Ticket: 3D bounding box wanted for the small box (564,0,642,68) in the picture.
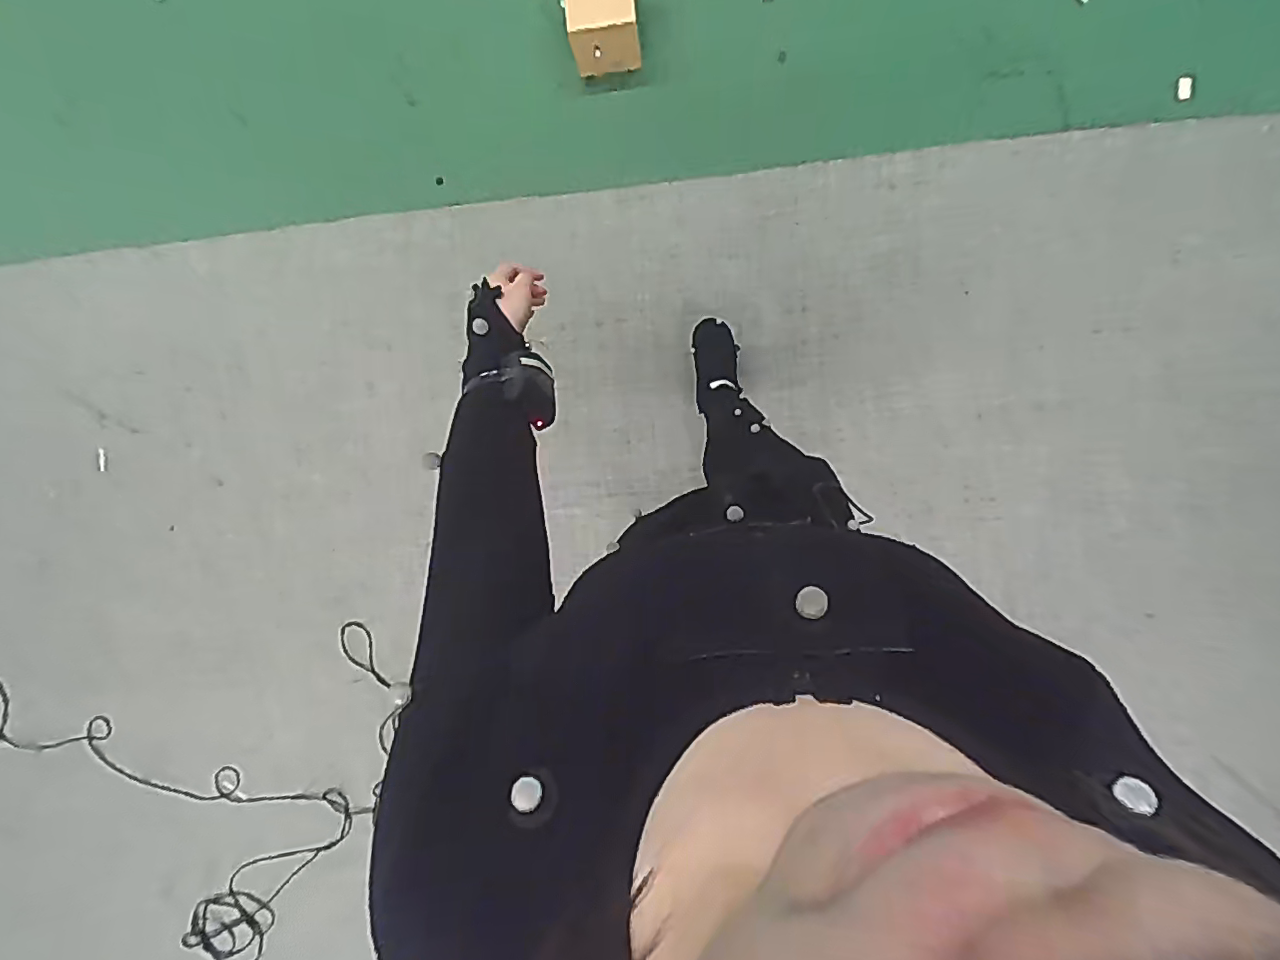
[{"bbox_3d":[-0.089,-1.152,1.324,0.168,0.176,0.179,-4,94,6],"label":"small box"}]
